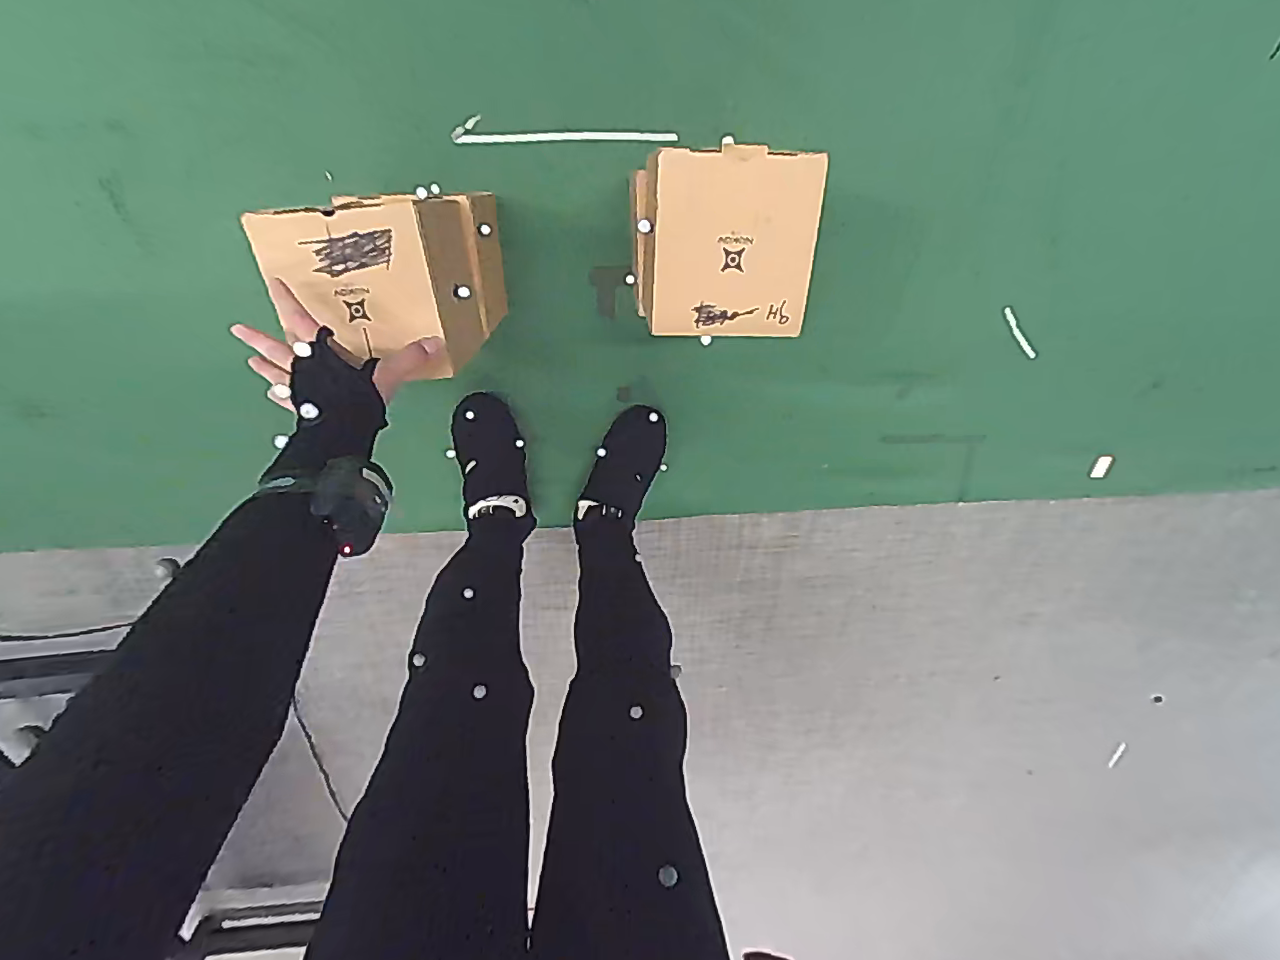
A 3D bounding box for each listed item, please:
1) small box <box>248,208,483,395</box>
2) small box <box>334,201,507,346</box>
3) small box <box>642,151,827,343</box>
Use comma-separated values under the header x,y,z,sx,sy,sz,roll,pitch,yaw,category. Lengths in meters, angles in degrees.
x,y,z,sx,sy,sz,roll,pitch,yaw,category
-0.292,-0.212,0.623,0.168,0.176,0.179,-4,118,0,small box
-0.292,-0.295,0.765,0.168,0.176,0.179,-2,117,-2,small box
0.090,-0.263,0.616,0.168,0.176,0.179,0,118,-4,small box
